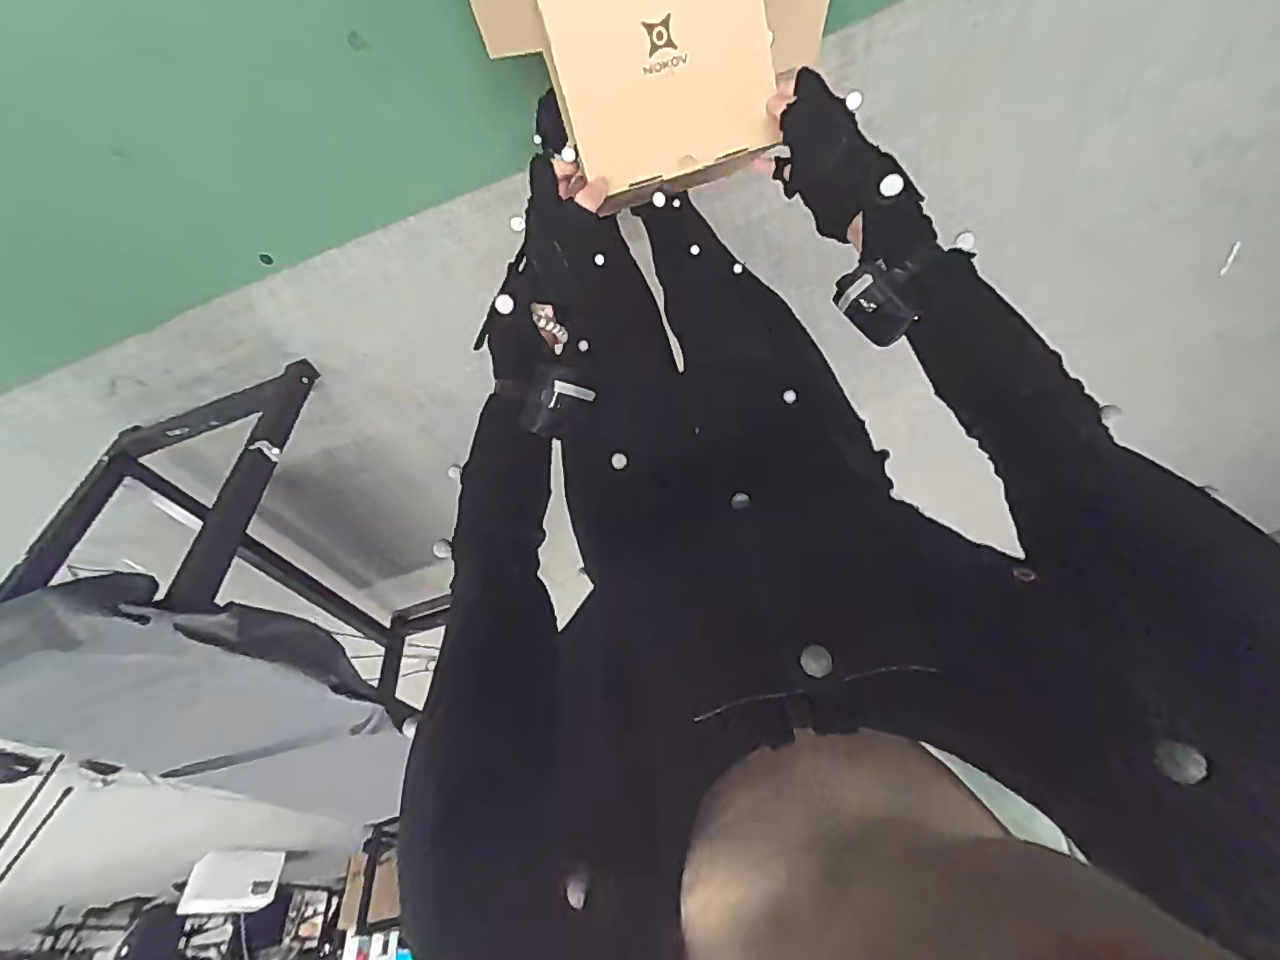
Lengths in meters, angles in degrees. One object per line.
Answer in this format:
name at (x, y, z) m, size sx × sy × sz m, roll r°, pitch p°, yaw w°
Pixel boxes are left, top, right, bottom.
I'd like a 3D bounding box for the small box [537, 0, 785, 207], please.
small box at (0.009, -0.363, 0.483) m, size 0.168 × 0.176 × 0.179 m, roll -17°, pitch 115°, yaw -1°
